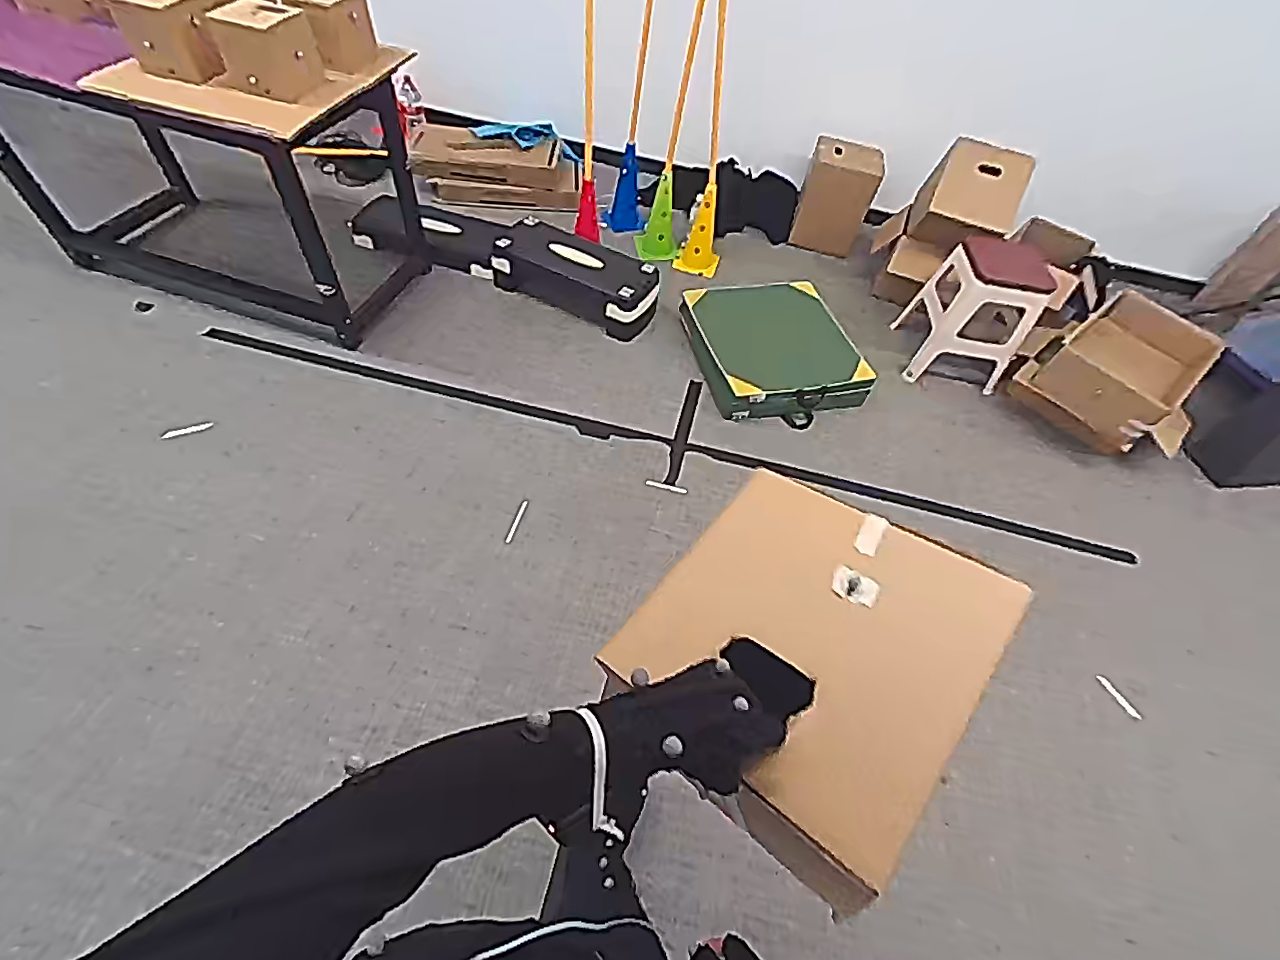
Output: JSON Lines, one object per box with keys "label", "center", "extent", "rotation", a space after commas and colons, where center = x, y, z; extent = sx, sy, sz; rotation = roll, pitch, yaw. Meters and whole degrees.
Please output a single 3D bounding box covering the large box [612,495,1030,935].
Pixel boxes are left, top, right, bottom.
{"label": "large box", "center": [0.224, 0.294, 0.689], "extent": [0.320, 0.408, 0.320], "rotation": [30, 64, 36]}
